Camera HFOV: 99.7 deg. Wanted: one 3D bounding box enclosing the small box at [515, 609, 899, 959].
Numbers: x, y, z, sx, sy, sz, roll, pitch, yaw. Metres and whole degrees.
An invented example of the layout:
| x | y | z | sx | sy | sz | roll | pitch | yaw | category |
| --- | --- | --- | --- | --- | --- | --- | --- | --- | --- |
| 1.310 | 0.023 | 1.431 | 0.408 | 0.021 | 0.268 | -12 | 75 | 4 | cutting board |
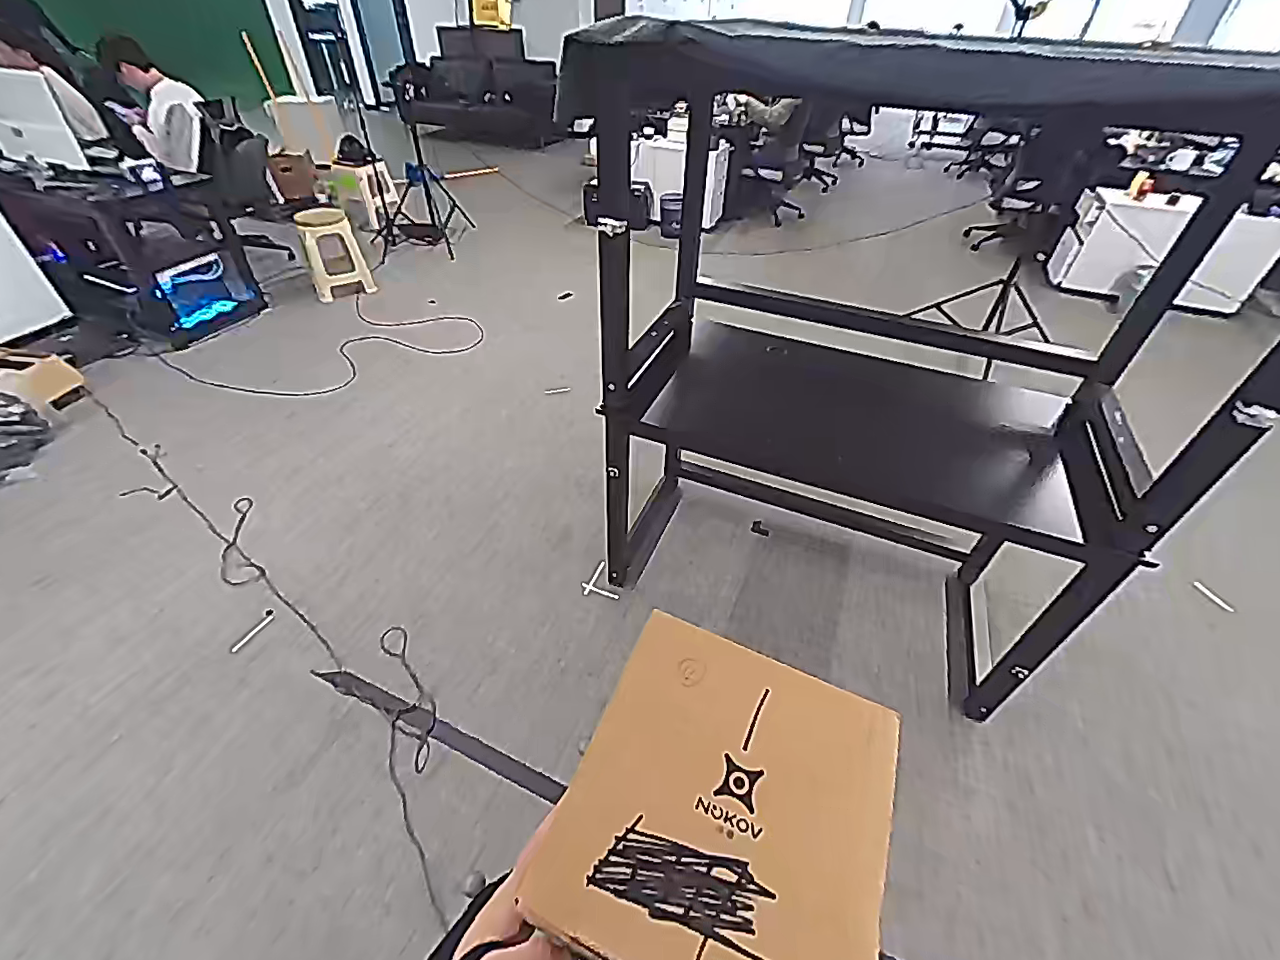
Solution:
| x | y | z | sx | sy | sz | roll | pitch | yaw | category |
| --- | --- | --- | --- | --- | --- | --- | --- | --- | --- |
| 0.043 | 0.224 | 0.350 | 0.168 | 0.176 | 0.179 | 21 | 49 | 13 | small box |
